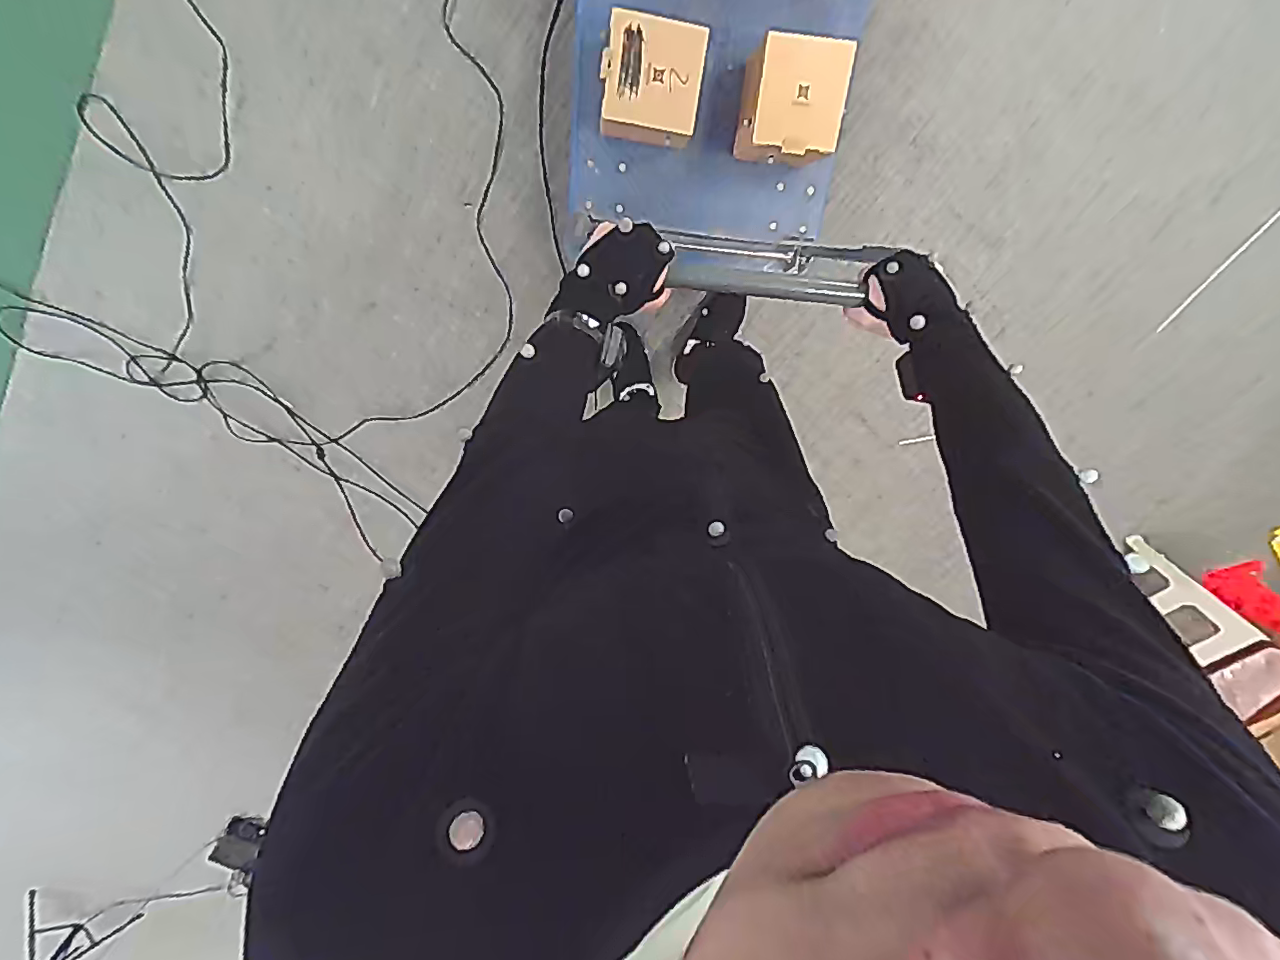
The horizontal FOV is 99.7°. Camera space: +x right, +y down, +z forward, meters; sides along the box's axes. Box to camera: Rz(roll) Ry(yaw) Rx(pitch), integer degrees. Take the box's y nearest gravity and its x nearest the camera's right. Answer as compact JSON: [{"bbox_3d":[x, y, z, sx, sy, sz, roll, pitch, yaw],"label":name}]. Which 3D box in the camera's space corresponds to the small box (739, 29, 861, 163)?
[{"bbox_3d":[0.301,-0.740,1.059,0.168,0.176,0.179,3,115,-5],"label":"small box"}]
